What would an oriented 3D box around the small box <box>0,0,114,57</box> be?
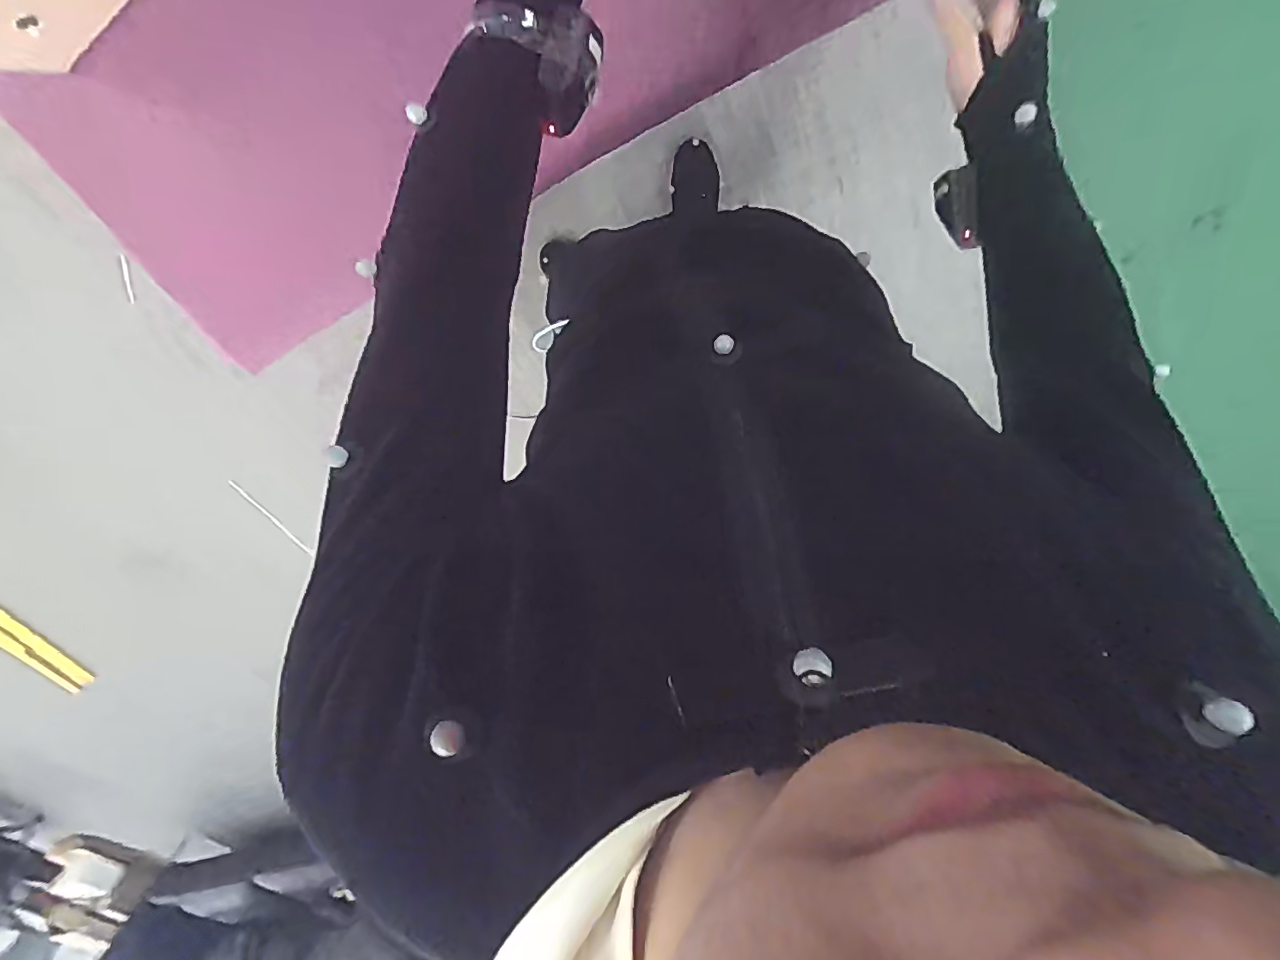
[{"bbox_3d":[-0.659,-0.546,0.515,0.179,0.176,0.168,-23,121,19],"label":"small box"}]
